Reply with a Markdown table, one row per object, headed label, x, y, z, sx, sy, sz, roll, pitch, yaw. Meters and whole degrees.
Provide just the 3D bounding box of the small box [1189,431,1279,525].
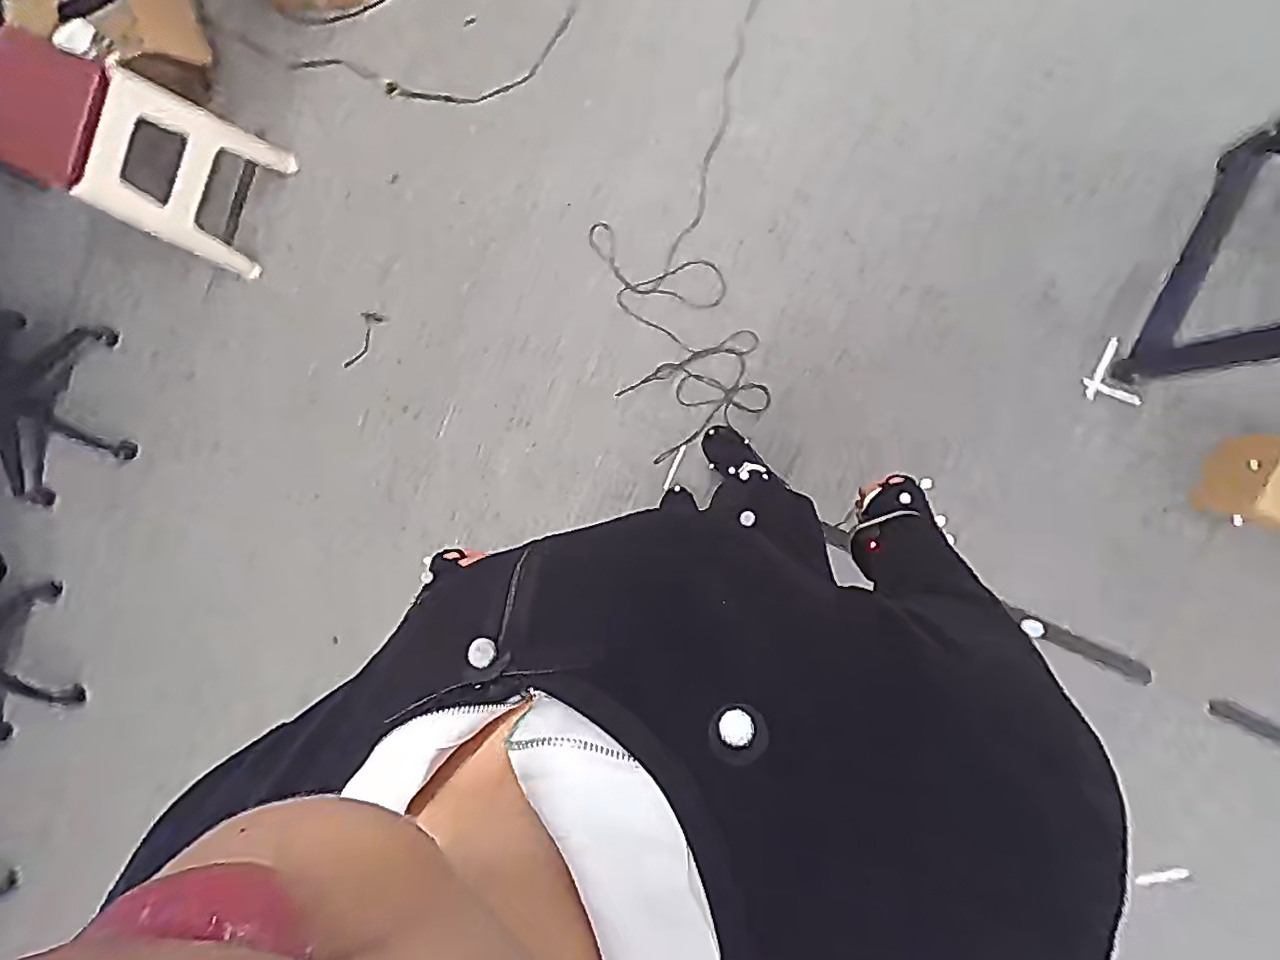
| label | x | y | z | sx | sy | sz | roll | pitch | yaw |
| --- | --- | --- | --- | --- | --- | --- | --- | --- | --- |
| small box | 1.418 | -0.007 | 1.219 | 0.168 | 0.176 | 0.179 | 23 | 98 | 7 |
